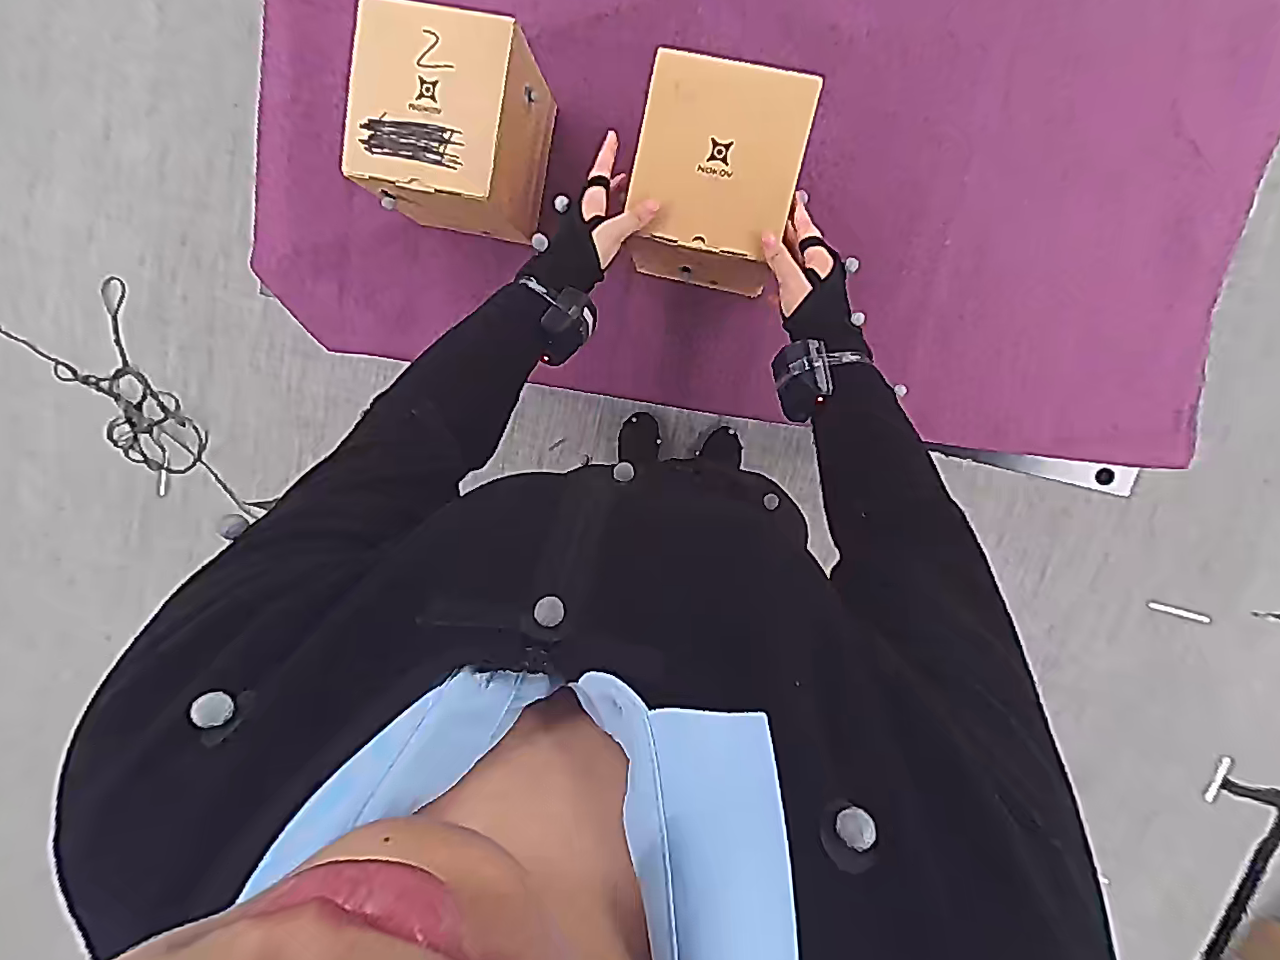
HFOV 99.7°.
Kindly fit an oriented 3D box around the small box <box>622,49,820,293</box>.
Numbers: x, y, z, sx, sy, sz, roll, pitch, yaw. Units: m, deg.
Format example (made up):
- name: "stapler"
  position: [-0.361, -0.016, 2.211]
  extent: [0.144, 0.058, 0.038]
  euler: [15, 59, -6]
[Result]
- name: "small box"
  position: [0.084, -0.332, 0.616]
  extent: [0.168, 0.176, 0.179]
  euler: [13, 100, 4]
